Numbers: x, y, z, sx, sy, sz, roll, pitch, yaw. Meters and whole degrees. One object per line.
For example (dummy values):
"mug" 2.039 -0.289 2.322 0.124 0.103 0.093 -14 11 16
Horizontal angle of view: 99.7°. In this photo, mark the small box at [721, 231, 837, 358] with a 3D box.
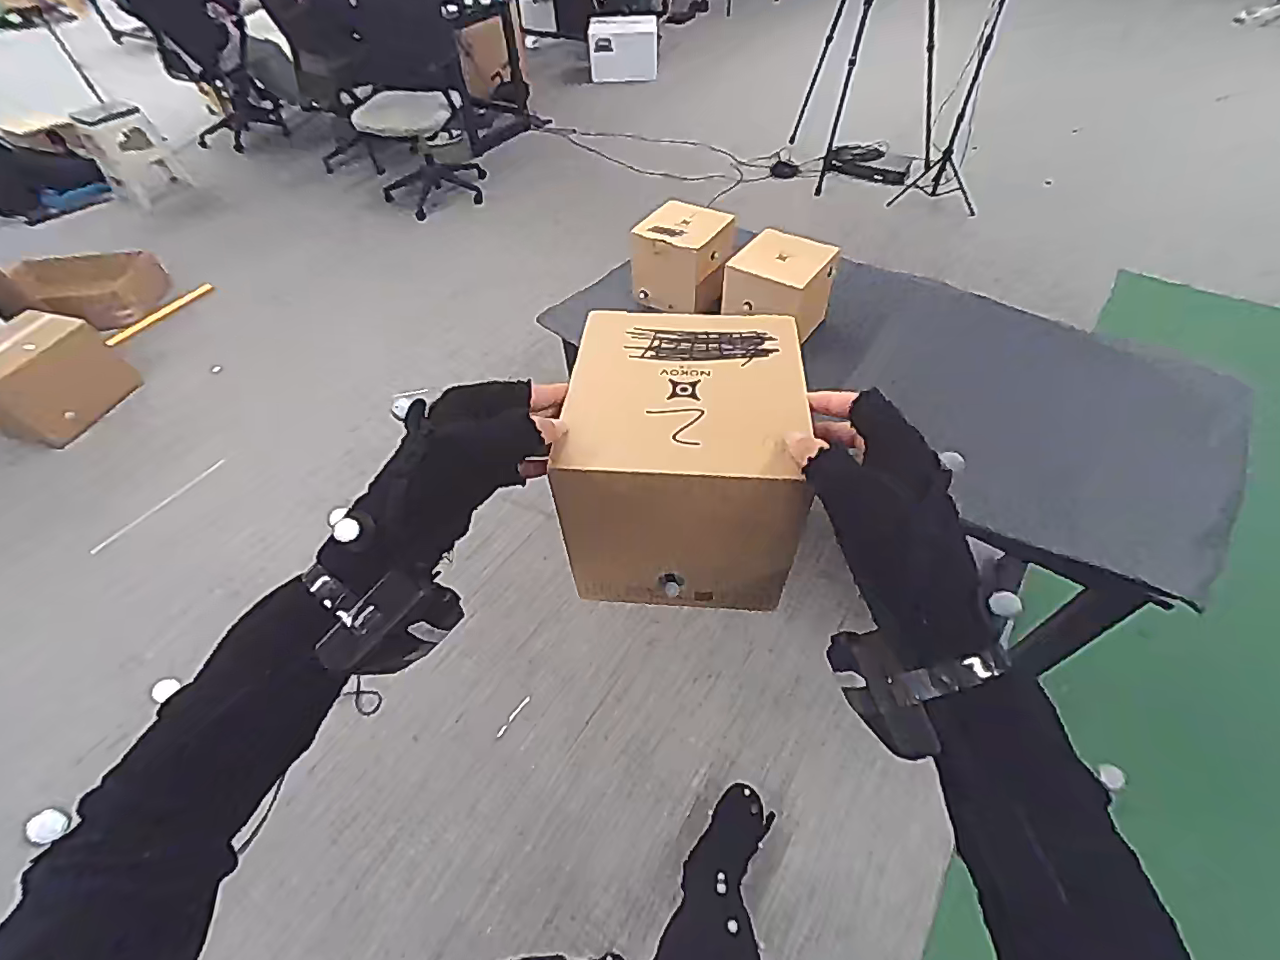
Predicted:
"small box" 0.280 -0.381 1.118 0.168 0.176 0.179 28 57 23

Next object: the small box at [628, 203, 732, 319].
"small box" 0.092 -0.489 1.213 0.168 0.176 0.179 25 55 21
